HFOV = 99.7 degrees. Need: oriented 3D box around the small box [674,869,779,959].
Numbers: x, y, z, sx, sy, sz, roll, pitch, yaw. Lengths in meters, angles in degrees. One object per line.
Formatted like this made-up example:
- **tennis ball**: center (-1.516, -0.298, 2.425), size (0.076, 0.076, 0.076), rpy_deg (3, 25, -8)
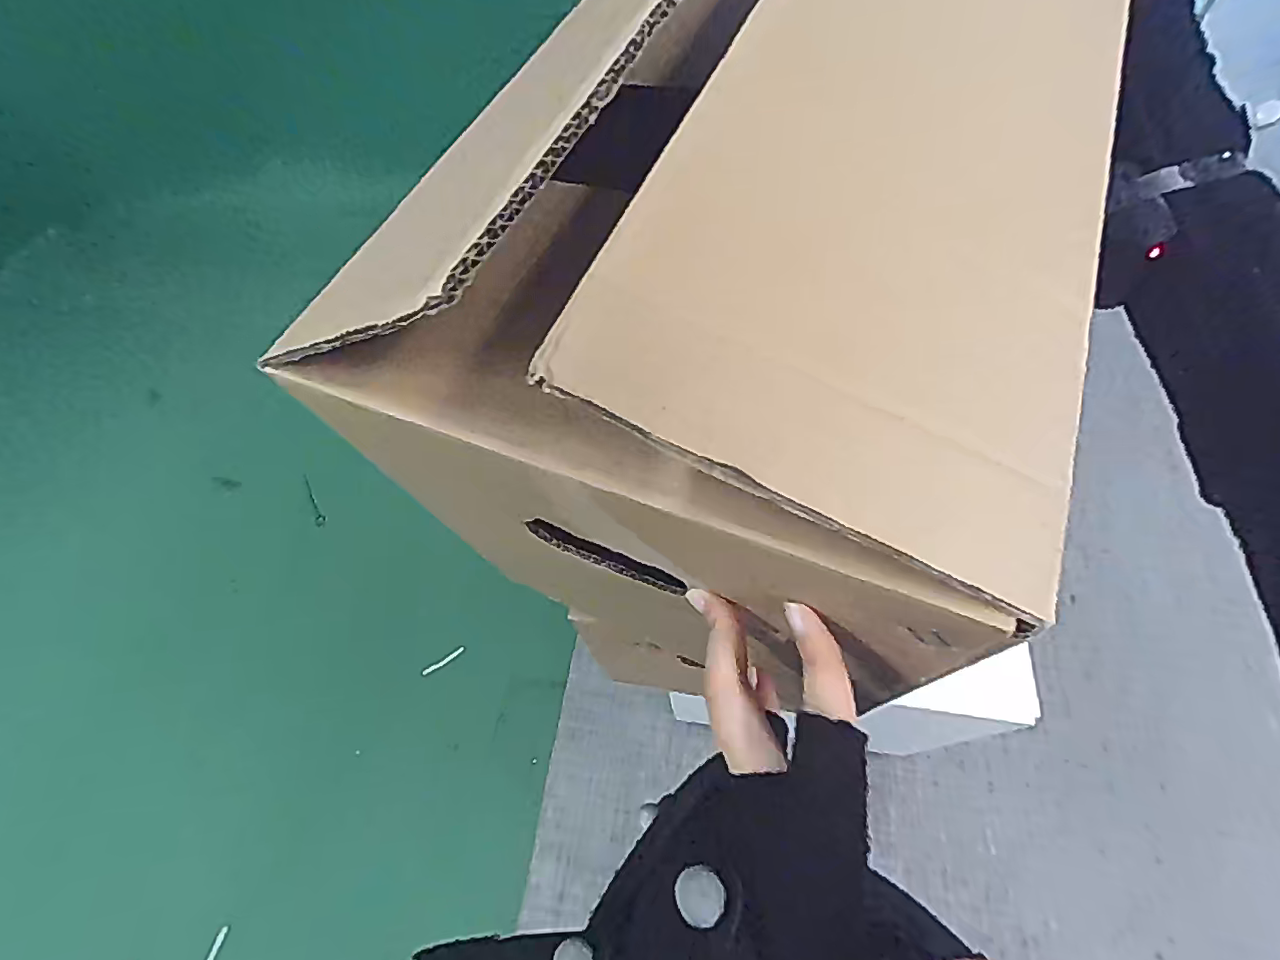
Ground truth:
- **small box**: center (0.165, 0.891, 1.067), size (0.168, 0.176, 0.179), rpy_deg (3, 62, -8)
